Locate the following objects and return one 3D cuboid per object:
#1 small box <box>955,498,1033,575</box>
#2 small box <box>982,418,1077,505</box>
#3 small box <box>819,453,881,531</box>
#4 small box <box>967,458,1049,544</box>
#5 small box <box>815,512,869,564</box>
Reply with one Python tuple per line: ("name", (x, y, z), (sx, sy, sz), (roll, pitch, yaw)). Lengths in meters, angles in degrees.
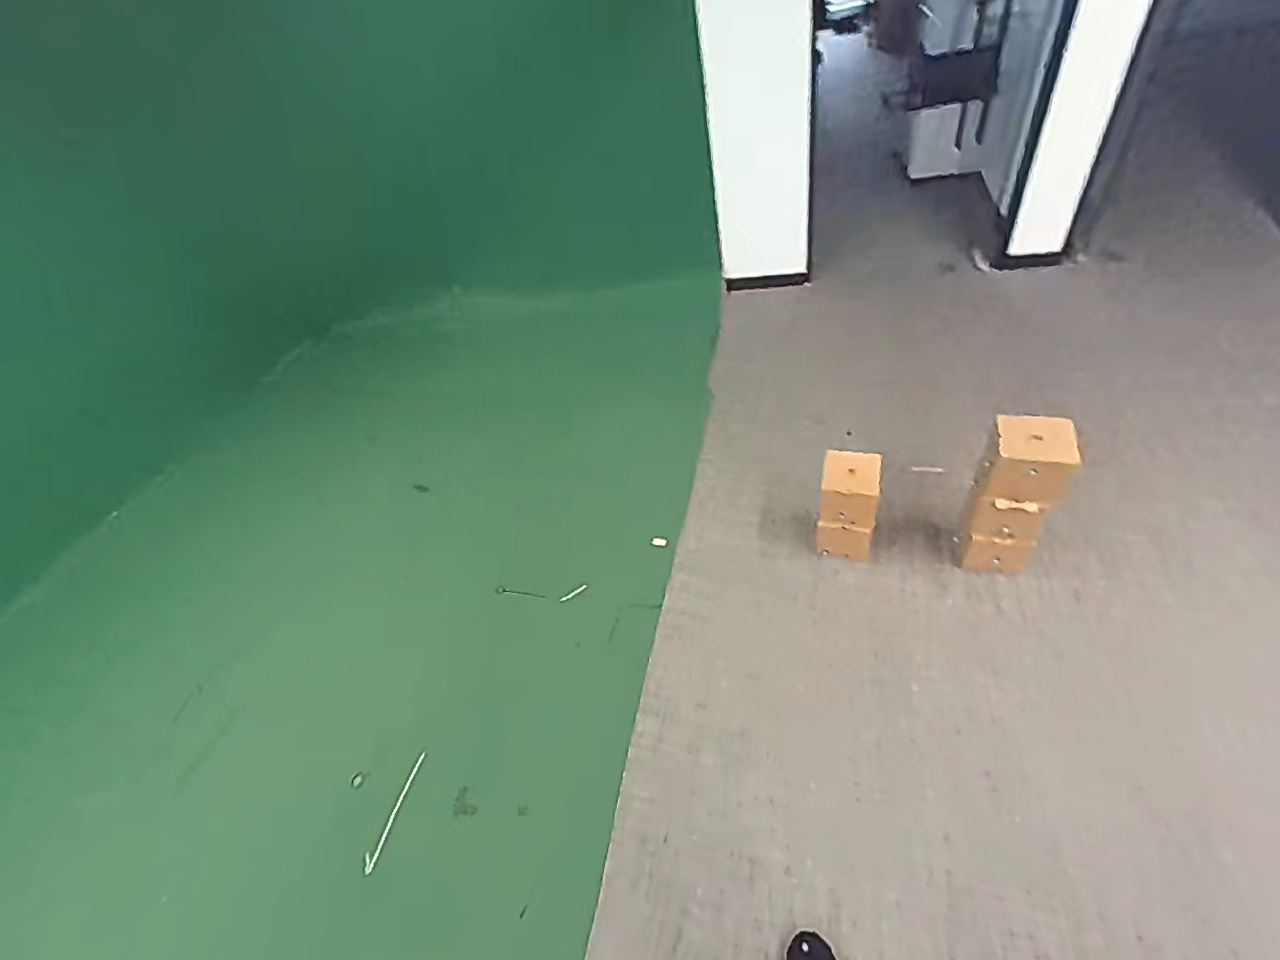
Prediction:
("small box", (1.110, 0.179, 1.709), (0.168, 0.176, 0.179), (4, 50, 19))
("small box", (1.053, -0.049, 1.480), (0.179, 0.176, 0.168), (7, 50, 22))
("small box", (0.672, 0.037, 1.740), (0.168, 0.176, 0.179), (7, 50, 20))
("small box", (1.079, 0.061, 1.599), (0.168, 0.176, 0.179), (7, 50, 23))
("small box", (0.698, 0.167, 1.860), (0.168, 0.176, 0.179), (6, 49, 20))
